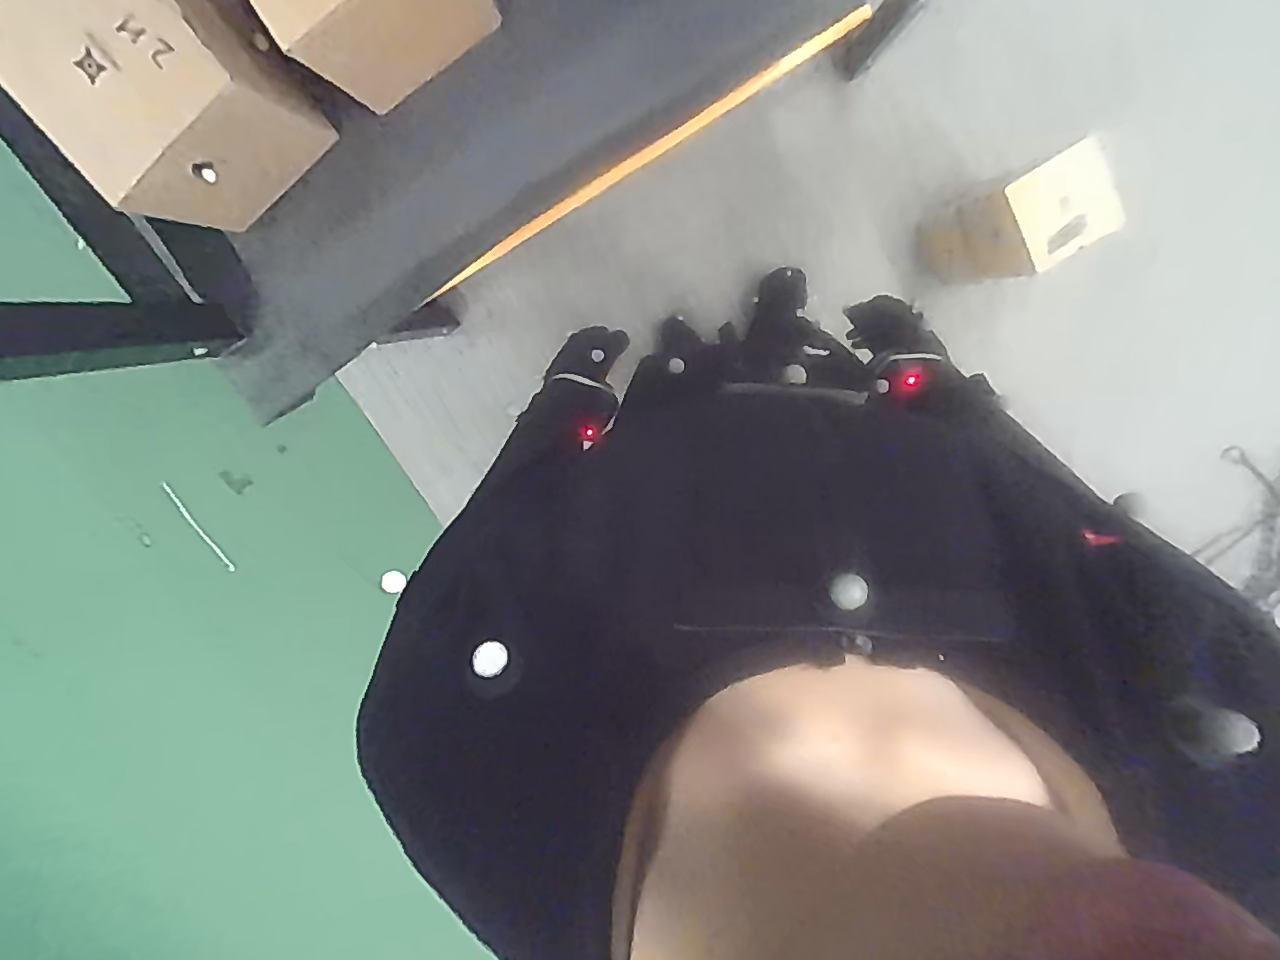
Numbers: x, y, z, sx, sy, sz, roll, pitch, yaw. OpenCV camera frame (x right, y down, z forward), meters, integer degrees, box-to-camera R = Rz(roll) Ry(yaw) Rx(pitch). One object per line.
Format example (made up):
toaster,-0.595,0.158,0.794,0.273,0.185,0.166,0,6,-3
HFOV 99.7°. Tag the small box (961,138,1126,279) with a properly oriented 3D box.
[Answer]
small box,0.768,-0.509,1.046,0.168,0.176,0.179,-30,102,11
